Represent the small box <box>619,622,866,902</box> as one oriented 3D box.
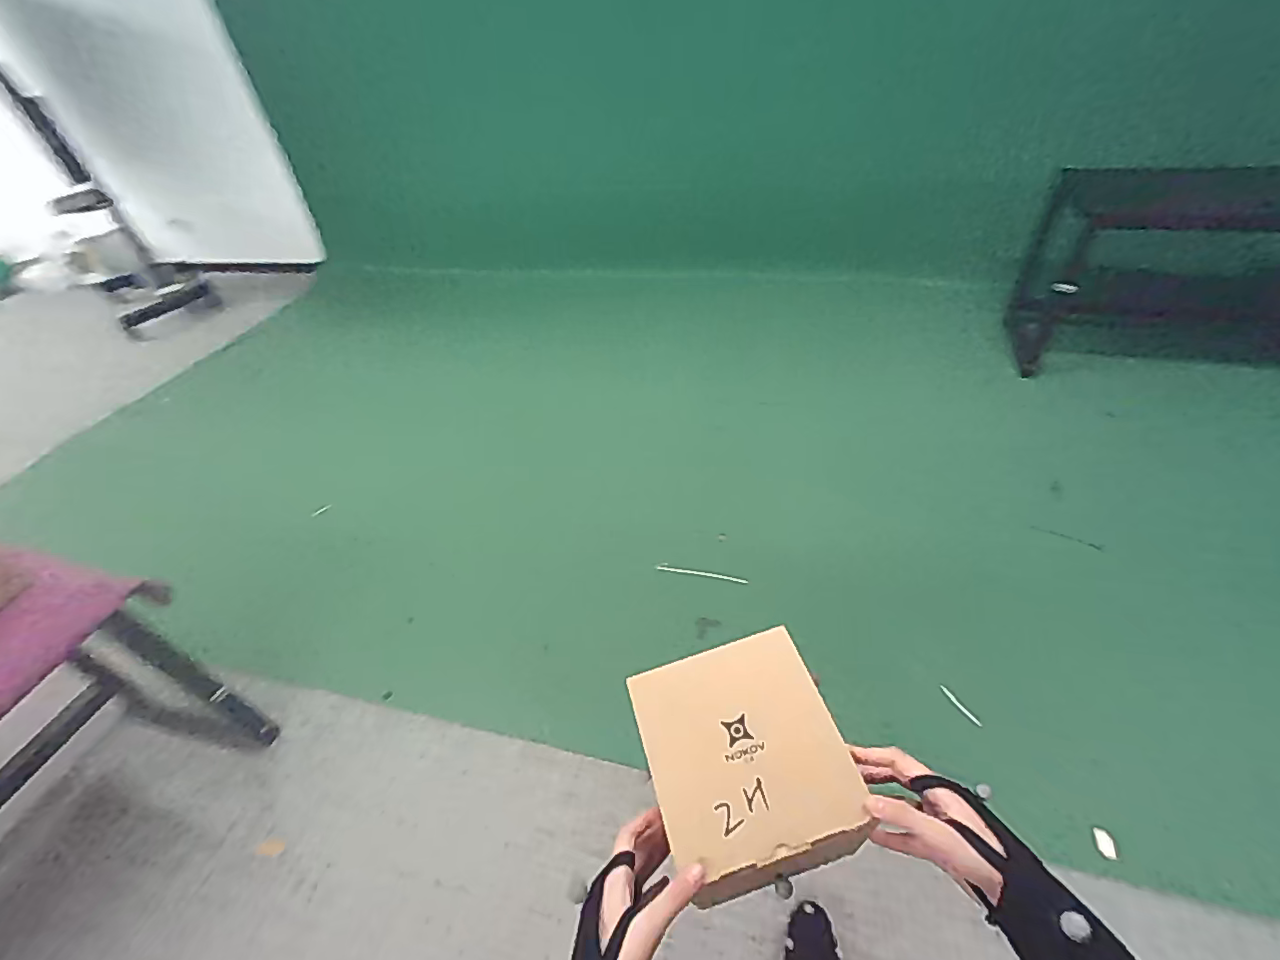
[{"bbox_3d":[0.089,0.274,0.528,0.168,0.176,0.179,-18,47,-4],"label":"small box"}]
